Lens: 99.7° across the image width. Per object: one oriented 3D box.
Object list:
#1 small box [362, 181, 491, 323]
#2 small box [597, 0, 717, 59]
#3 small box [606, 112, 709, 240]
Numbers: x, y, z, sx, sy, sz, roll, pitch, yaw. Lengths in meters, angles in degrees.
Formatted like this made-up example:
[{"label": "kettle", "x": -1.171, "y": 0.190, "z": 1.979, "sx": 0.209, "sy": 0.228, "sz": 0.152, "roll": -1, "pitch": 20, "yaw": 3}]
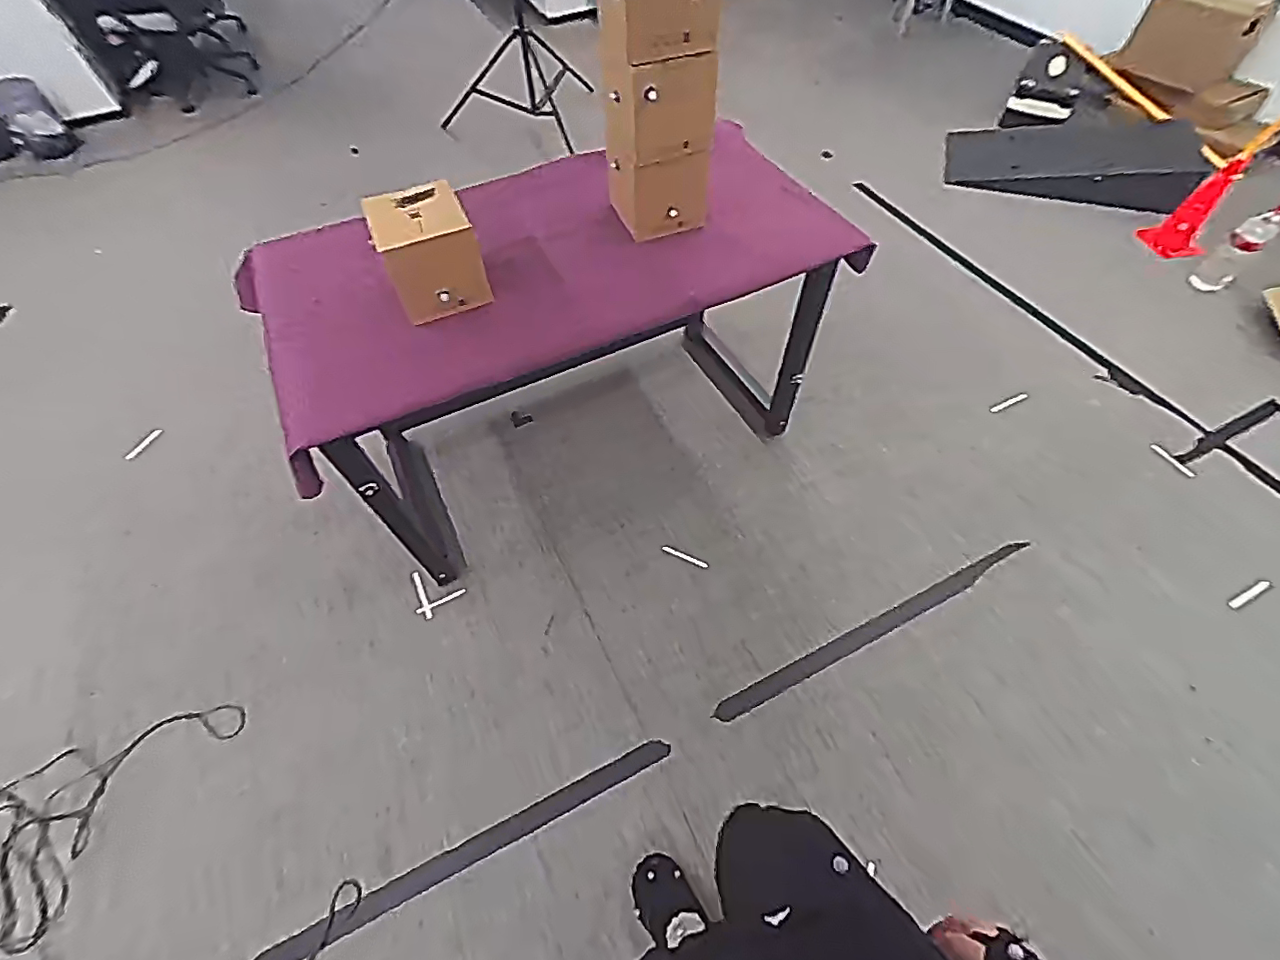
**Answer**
[{"label": "small box", "x": -0.406, "y": -0.436, "z": 1.044, "sx": 0.168, "sy": 0.176, "sz": 0.179, "roll": -22, "pitch": 61, "yaw": -12}, {"label": "small box", "x": 0.026, "y": -0.824, "z": 0.891, "sx": 0.168, "sy": 0.176, "sz": 0.179, "roll": -17, "pitch": 57, "yaw": -10}, {"label": "small box", "x": 0.035, "y": -0.655, "z": 1.171, "sx": 0.168, "sy": 0.176, "sz": 0.179, "roll": -19, "pitch": 59, "yaw": -9}]
